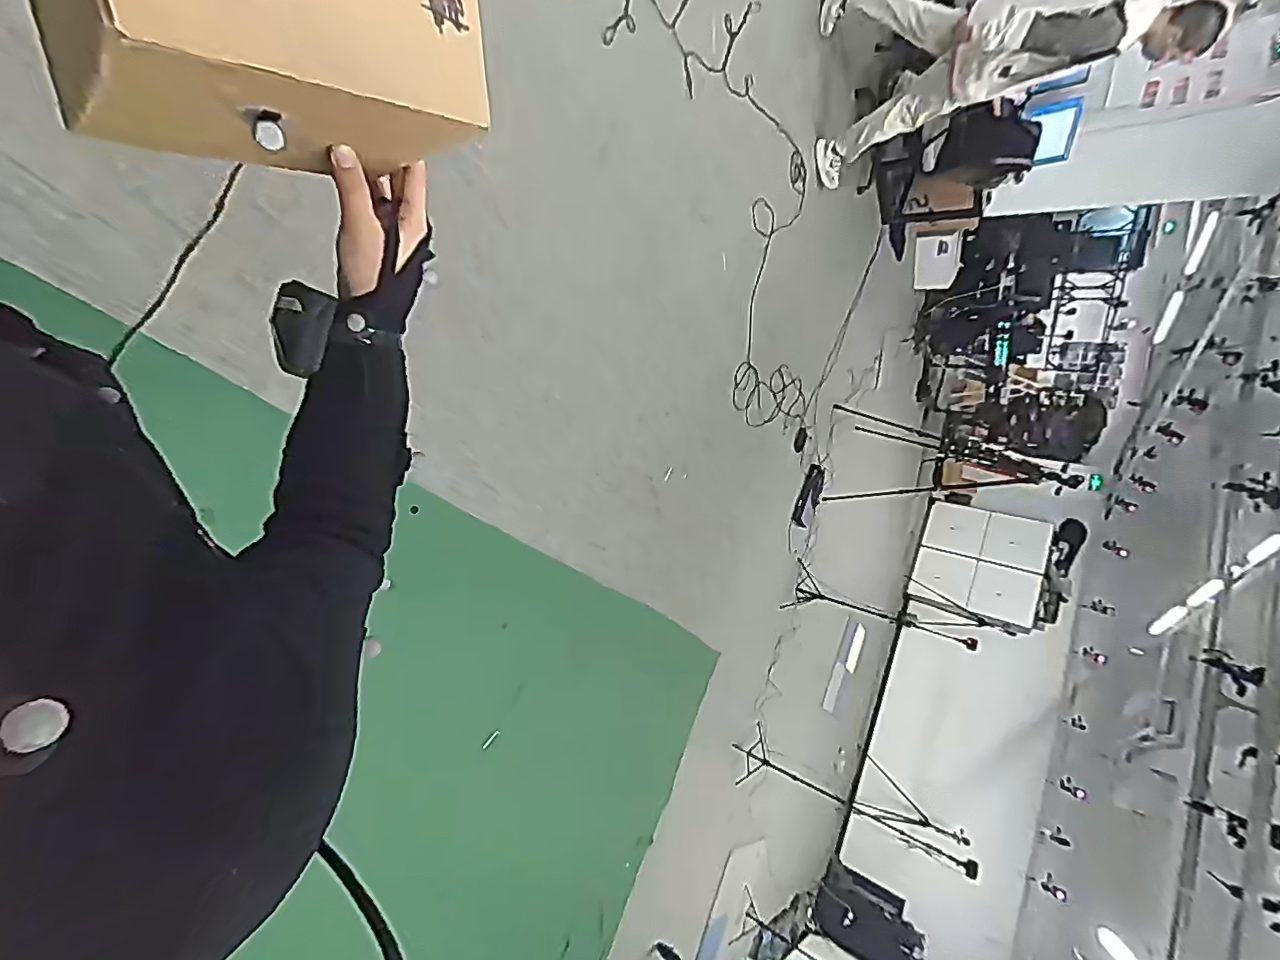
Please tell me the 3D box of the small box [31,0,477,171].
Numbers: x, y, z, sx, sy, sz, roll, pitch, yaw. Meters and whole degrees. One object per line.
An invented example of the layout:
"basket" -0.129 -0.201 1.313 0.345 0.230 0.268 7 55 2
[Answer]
"small box" -0.220 -0.287 0.299 0.179 0.176 0.168 -21 115 -45
